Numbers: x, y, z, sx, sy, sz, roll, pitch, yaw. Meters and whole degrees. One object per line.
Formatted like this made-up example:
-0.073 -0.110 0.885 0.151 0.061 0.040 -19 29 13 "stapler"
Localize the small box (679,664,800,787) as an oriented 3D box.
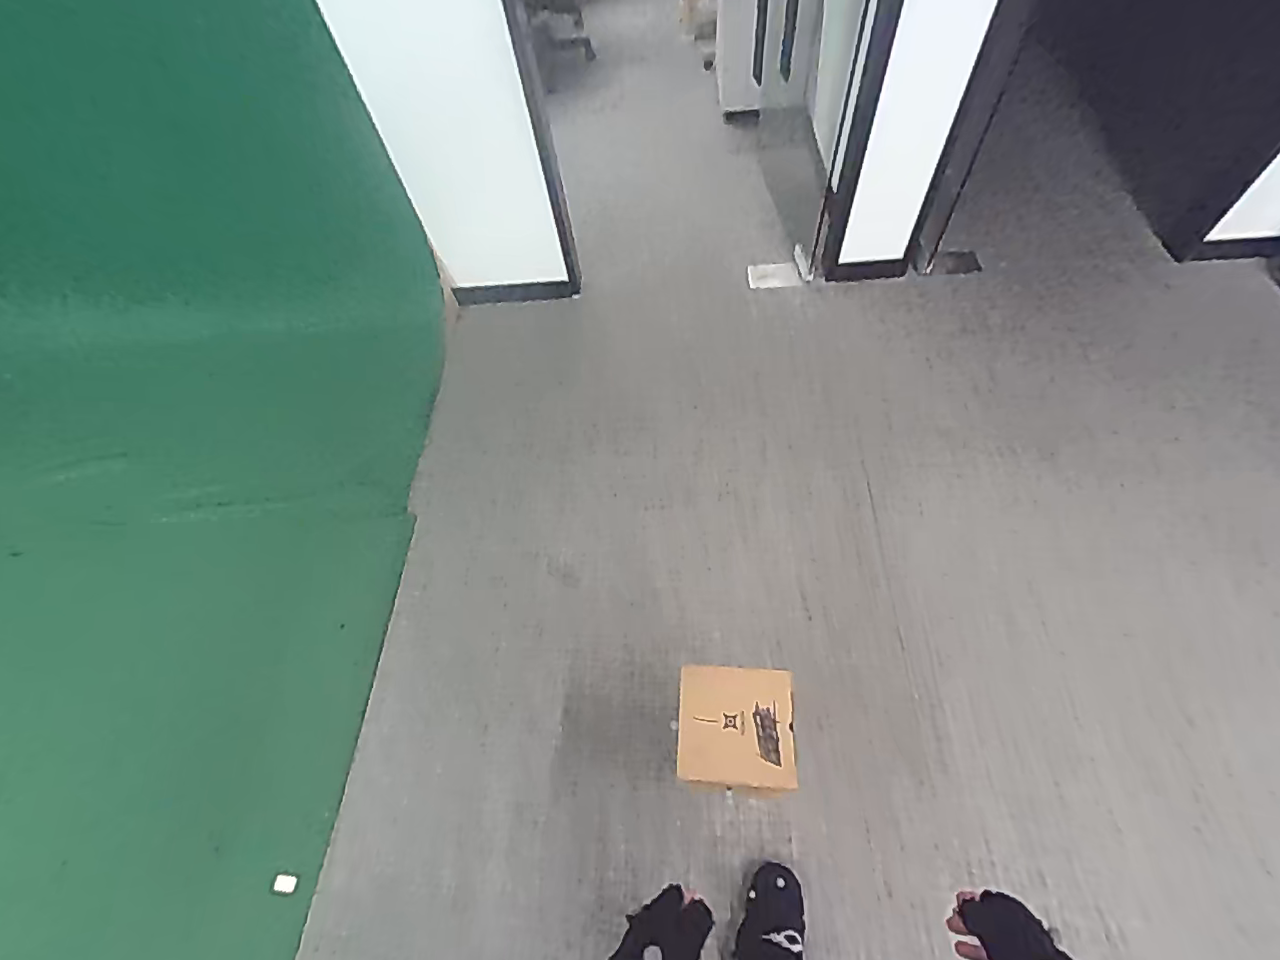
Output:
0.153 0.409 0.894 0.179 0.176 0.168 0 59 5 "small box"
